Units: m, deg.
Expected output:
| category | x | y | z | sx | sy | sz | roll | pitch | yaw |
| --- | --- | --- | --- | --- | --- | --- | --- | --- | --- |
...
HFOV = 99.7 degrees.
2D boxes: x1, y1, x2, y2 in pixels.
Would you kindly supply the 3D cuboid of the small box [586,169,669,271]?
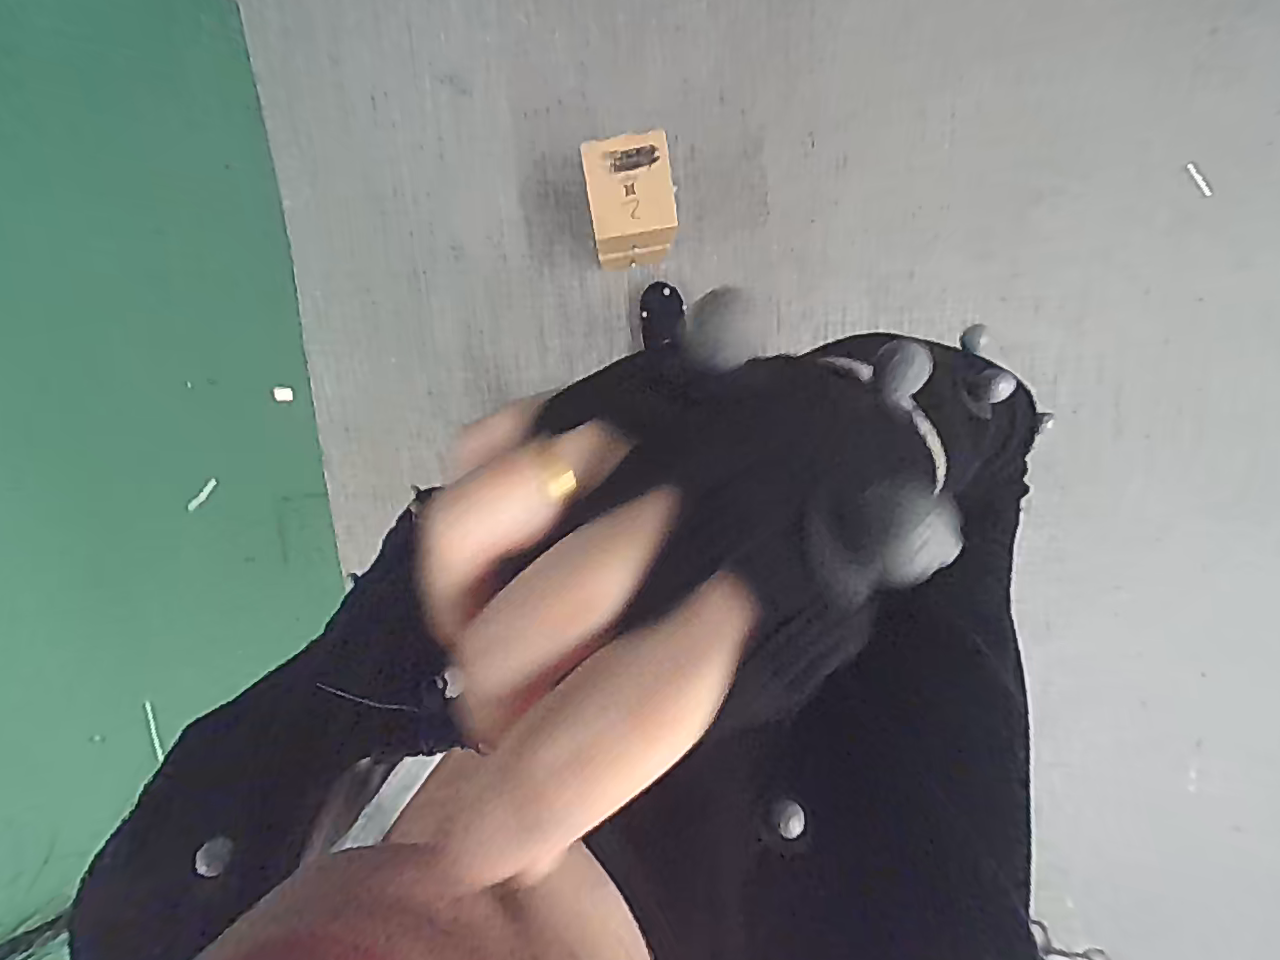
| category | x | y | z | sx | sy | sz | roll | pitch | yaw |
| --- | --- | --- | --- | --- | --- | --- | --- | --- | --- |
| small box | -0.026 | -0.602 | 1.276 | 0.168 | 0.176 | 0.179 | -9 | 102 | 1 |
